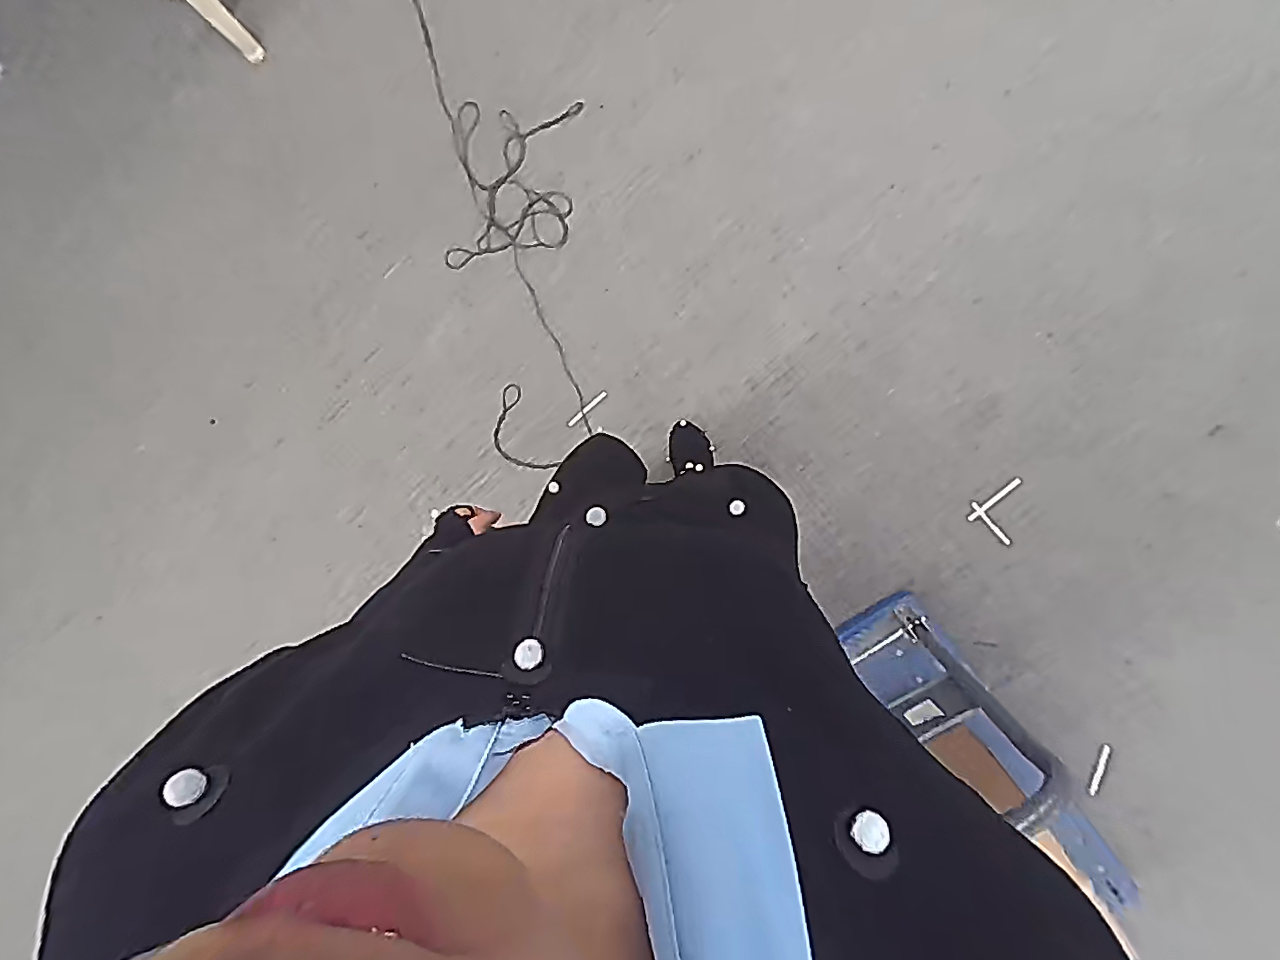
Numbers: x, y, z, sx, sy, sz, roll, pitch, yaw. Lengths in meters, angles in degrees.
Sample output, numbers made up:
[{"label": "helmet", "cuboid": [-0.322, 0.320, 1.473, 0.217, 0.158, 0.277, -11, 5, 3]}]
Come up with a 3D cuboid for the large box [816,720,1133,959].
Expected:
[{"label": "large box", "cuboid": [0.645, 0.795, 1.131, 0.408, 0.320, 0.320, -36, 90, 9]}]
